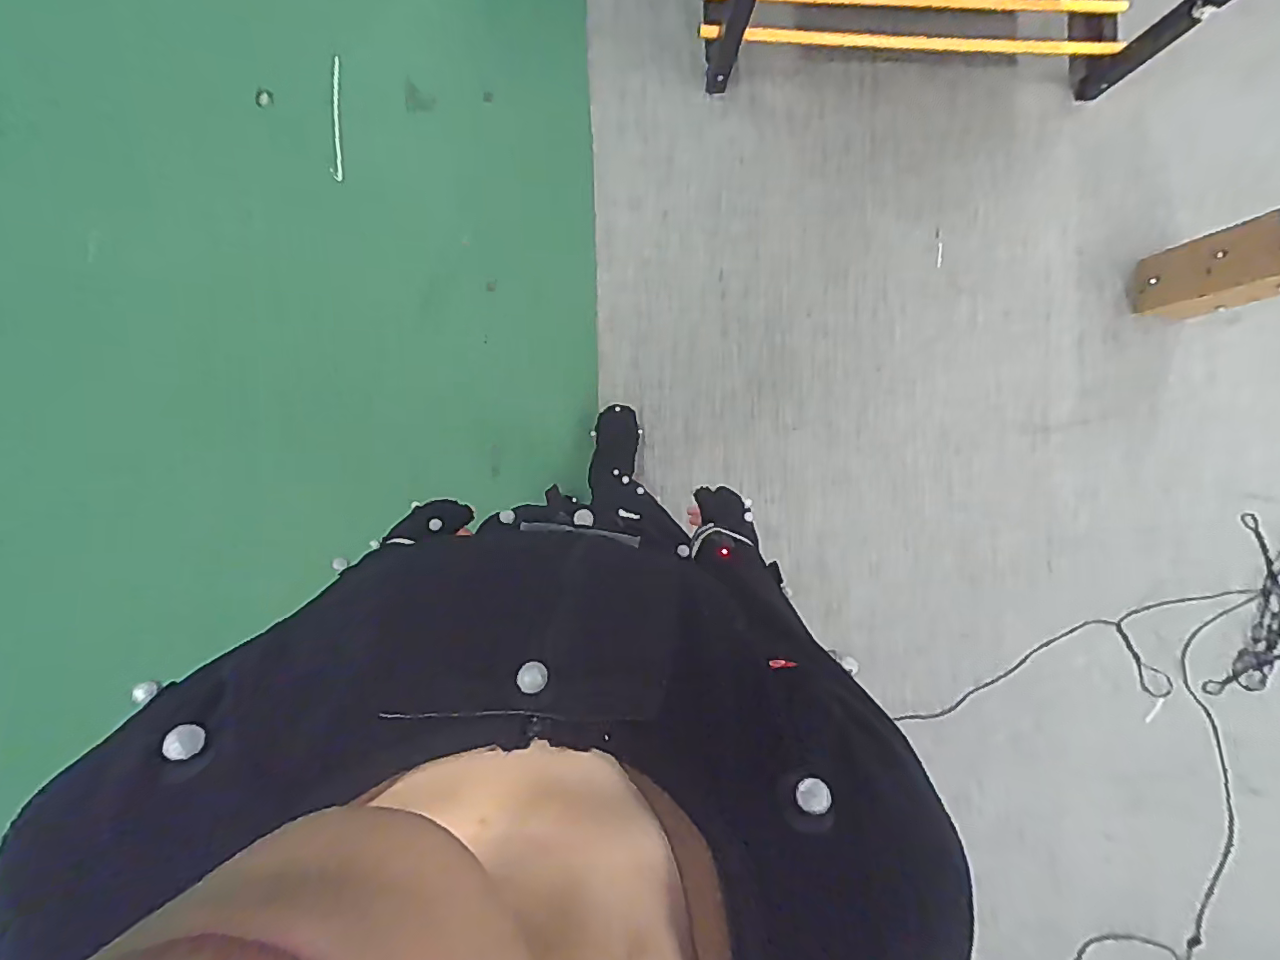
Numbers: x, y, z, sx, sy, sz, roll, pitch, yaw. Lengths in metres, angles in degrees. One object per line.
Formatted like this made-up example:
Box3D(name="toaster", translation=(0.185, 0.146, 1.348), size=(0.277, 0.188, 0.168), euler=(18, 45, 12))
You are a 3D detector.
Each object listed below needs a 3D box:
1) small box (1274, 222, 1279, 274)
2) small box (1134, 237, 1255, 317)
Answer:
Box3D(name="small box", translation=(1.612, -0.568, 1.224), size=(0.179, 0.176, 0.168), euler=(1, 92, -6))
Box3D(name="small box", translation=(1.582, -0.574, 1.549), size=(0.179, 0.176, 0.168), euler=(3, 90, -5))
